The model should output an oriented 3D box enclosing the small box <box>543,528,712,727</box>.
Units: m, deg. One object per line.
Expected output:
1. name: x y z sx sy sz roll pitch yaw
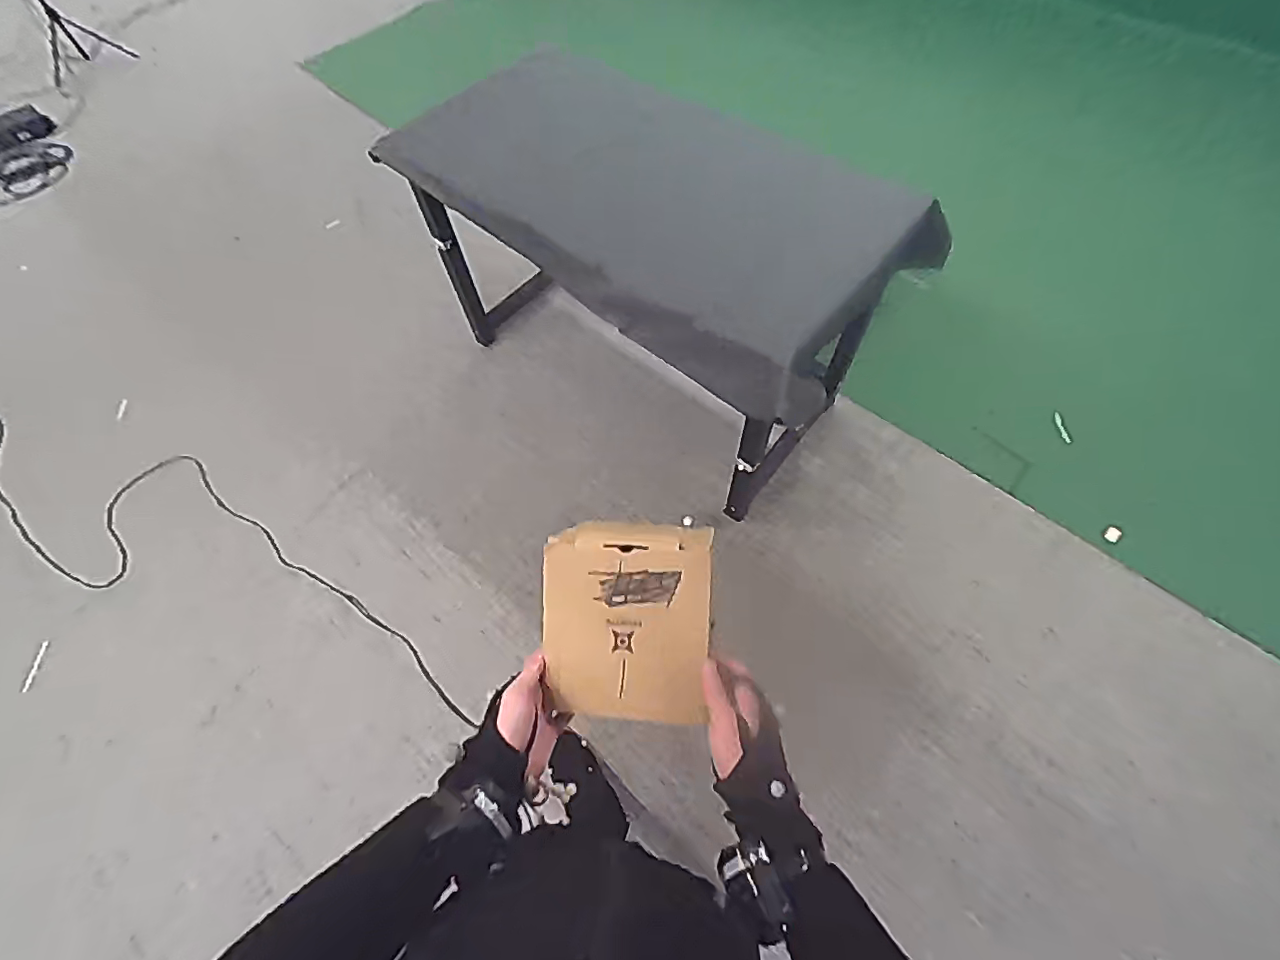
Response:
1. small box: -0.004 0.151 0.615 0.168 0.176 0.179 2 93 9
